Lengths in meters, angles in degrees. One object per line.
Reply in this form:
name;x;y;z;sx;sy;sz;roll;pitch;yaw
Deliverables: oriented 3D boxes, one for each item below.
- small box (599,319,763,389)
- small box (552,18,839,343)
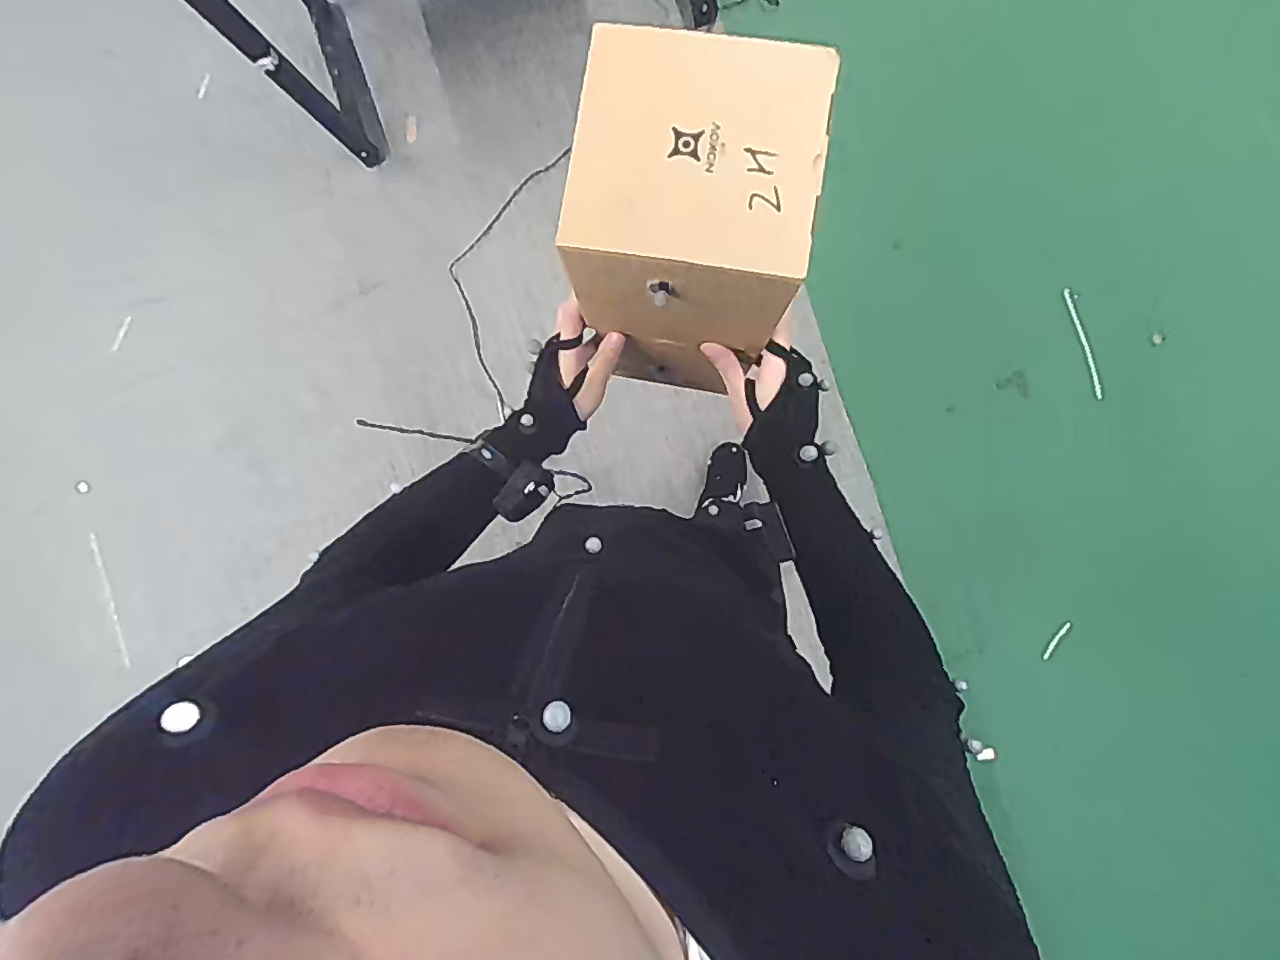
small box;0.055;-0.218;0.615;0.168;0.176;0.179;10;87;3
small box;0.042;-0.226;0.450;0.179;0.176;0.168;10;87;3
